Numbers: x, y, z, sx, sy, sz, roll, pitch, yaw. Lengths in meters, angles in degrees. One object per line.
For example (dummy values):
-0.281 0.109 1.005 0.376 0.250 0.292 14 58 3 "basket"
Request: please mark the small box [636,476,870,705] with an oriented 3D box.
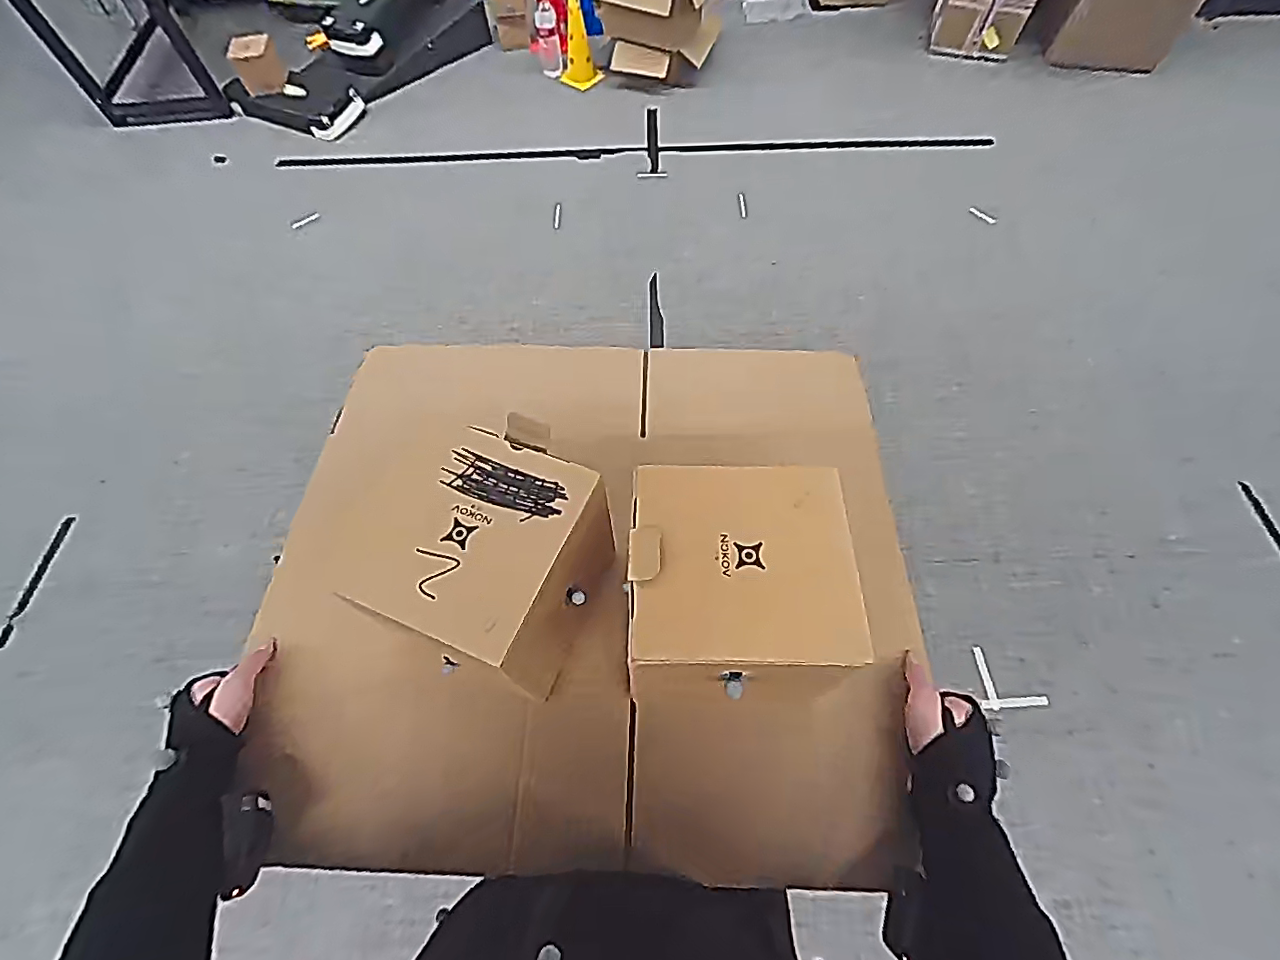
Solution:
0.087 0.110 0.507 0.179 0.176 0.168 0 59 2 "small box"
